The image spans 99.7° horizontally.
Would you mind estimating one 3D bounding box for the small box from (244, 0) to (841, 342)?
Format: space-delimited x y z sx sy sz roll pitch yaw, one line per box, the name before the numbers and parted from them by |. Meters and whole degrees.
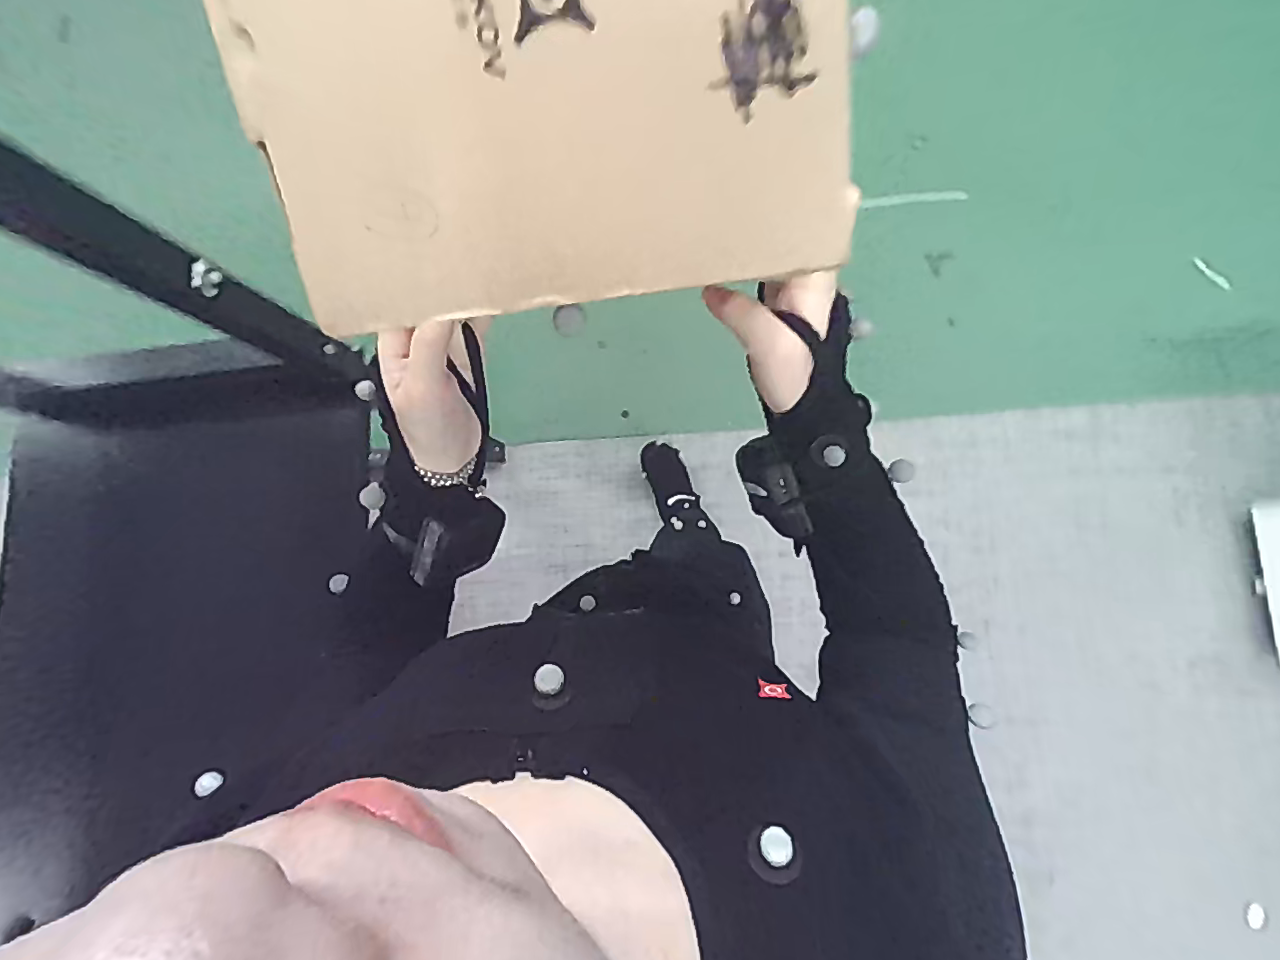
small box | -0.022 -0.157 0.231 0.179 0.176 0.168 -5 110 9
